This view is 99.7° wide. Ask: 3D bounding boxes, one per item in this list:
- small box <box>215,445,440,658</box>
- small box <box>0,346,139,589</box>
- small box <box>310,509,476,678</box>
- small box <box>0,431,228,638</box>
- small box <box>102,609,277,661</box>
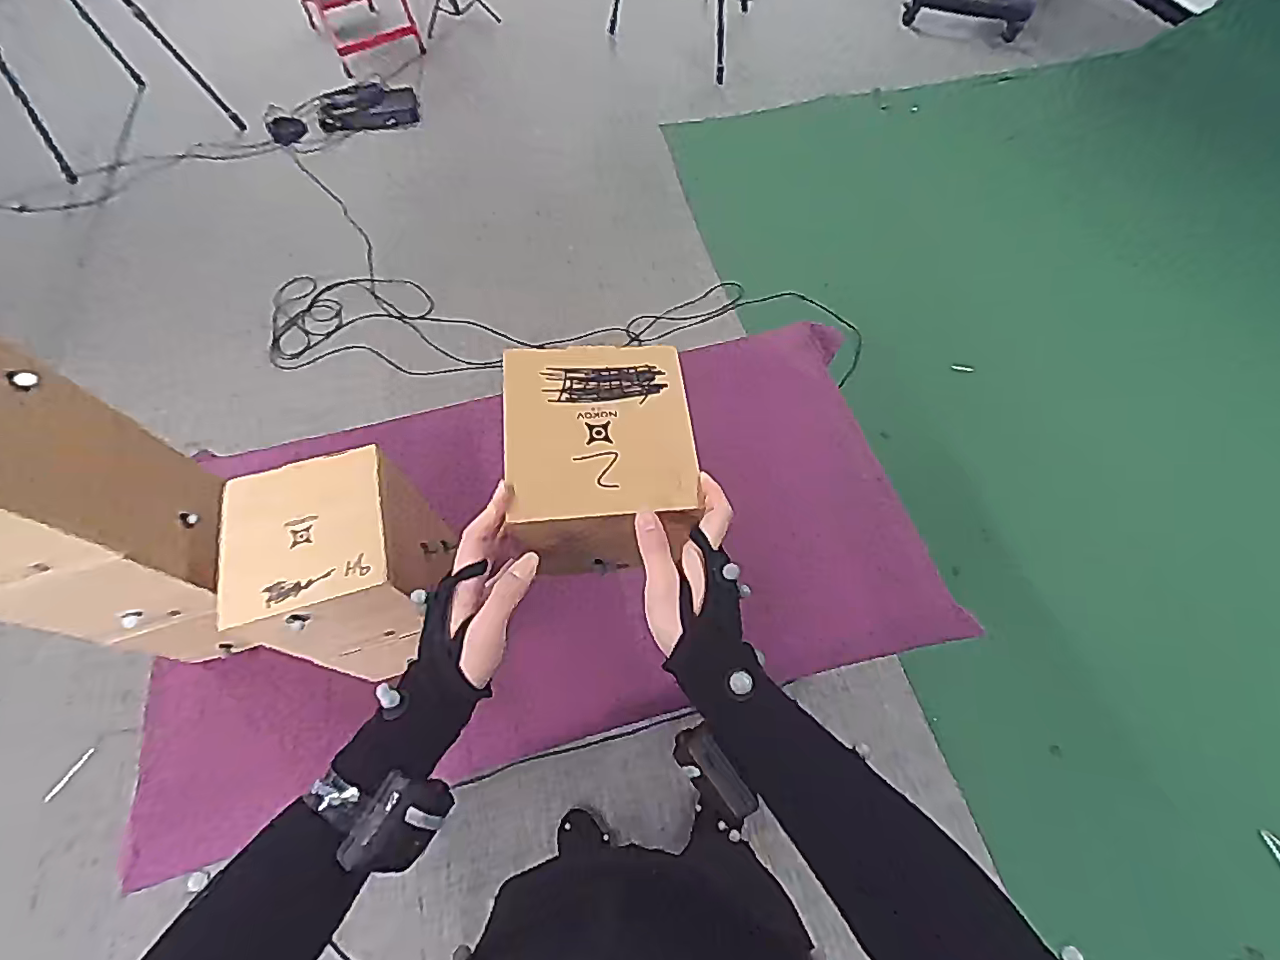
[{"bbox_3d":[-0.353,0.090,0.642,0.168,0.176,0.179,-16,62,-6],"label":"small box"},{"bbox_3d":[-0.636,-0.003,0.516,0.168,0.176,0.179,-18,63,-6],"label":"small box"},{"bbox_3d":[-0.350,0.170,0.786,0.168,0.176,0.179,-15,63,-6],"label":"small box"},{"bbox_3d":[-0.632,0.072,0.660,0.168,0.176,0.179,-17,64,-6],"label":"small box"},{"bbox_3d":[-0.628,0.149,0.804,0.168,0.176,0.179,-17,64,-7],"label":"small box"}]
